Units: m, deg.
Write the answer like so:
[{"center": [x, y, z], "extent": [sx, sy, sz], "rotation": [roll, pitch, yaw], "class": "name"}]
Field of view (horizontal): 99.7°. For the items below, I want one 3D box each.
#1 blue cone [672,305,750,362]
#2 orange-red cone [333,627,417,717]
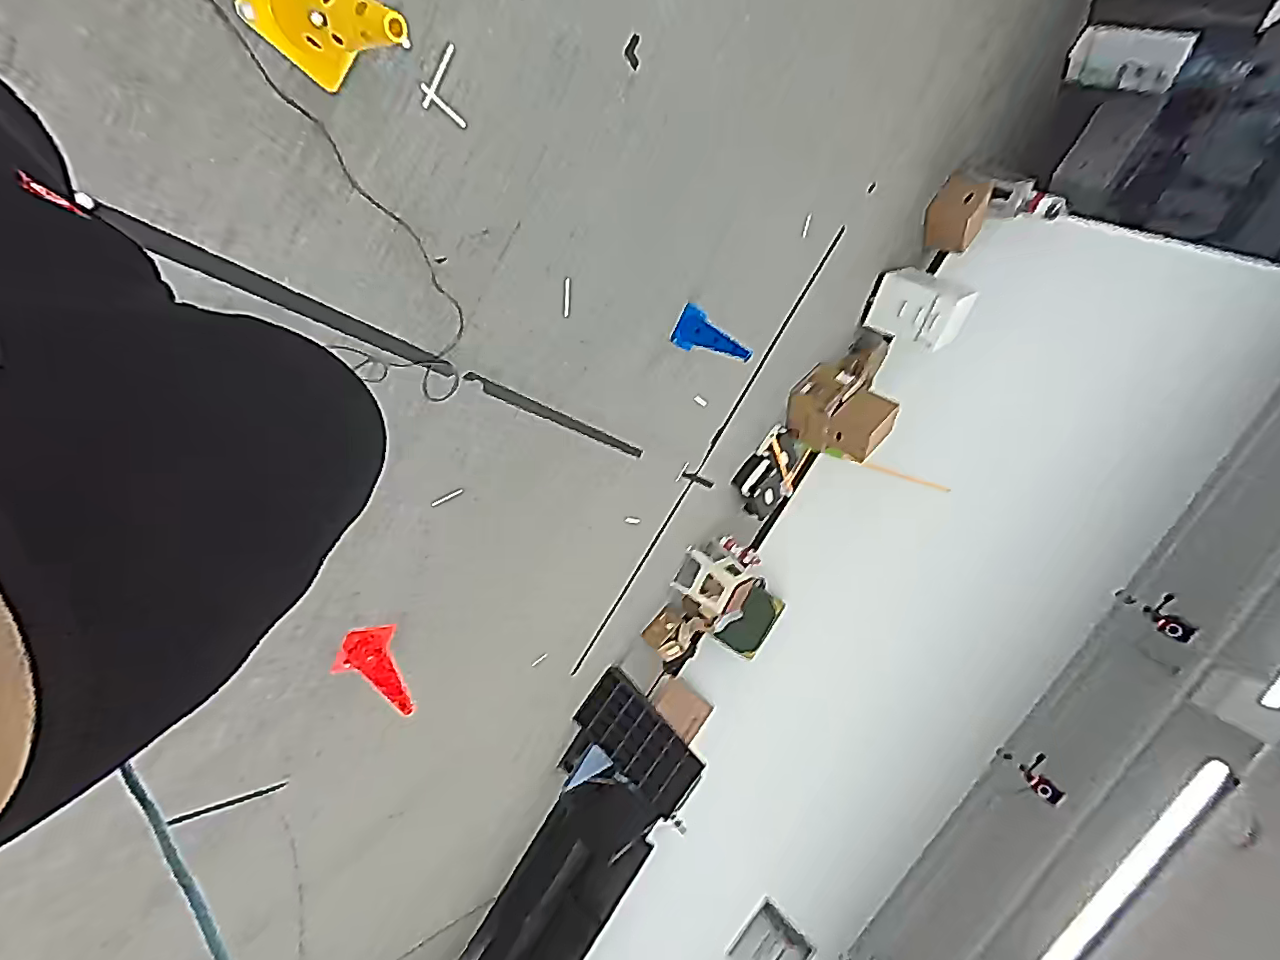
[{"center": [0.351, -0.646, 2.495], "extent": [0.193, 0.380, 0.192], "rotation": [8, 113, -58], "class": "blue cone"}, {"center": [-0.941, 0.745, 2.016], "extent": [0.199, 0.360, 0.198], "rotation": [9, 114, -60], "class": "orange-red cone"}]
